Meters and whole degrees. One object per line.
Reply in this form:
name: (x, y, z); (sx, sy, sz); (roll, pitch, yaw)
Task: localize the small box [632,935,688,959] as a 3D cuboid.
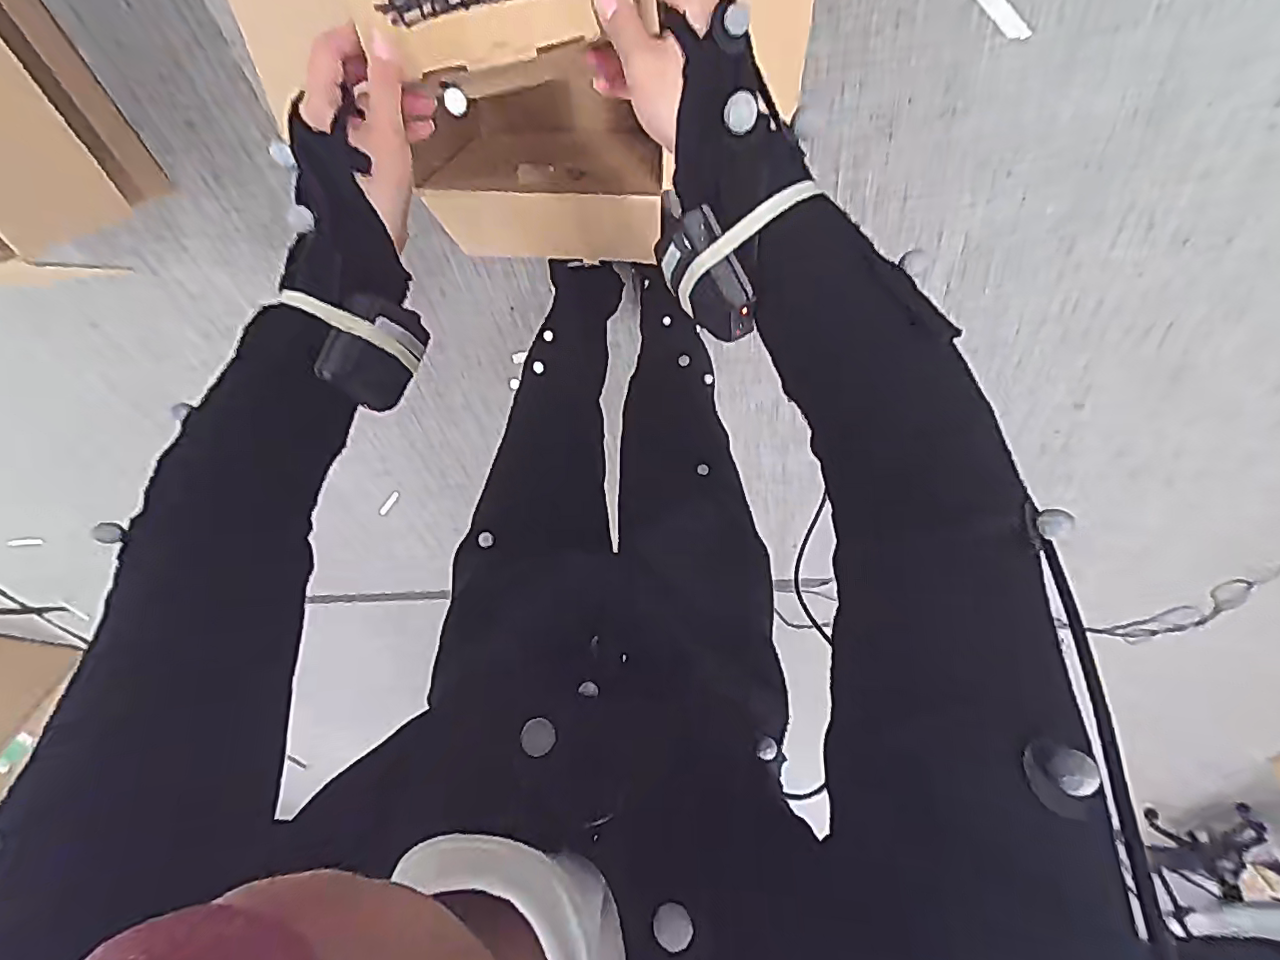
small box: (0.068, 1.703, 1.880); (0.179, 0.176, 0.168); (-7, 133, 12)
